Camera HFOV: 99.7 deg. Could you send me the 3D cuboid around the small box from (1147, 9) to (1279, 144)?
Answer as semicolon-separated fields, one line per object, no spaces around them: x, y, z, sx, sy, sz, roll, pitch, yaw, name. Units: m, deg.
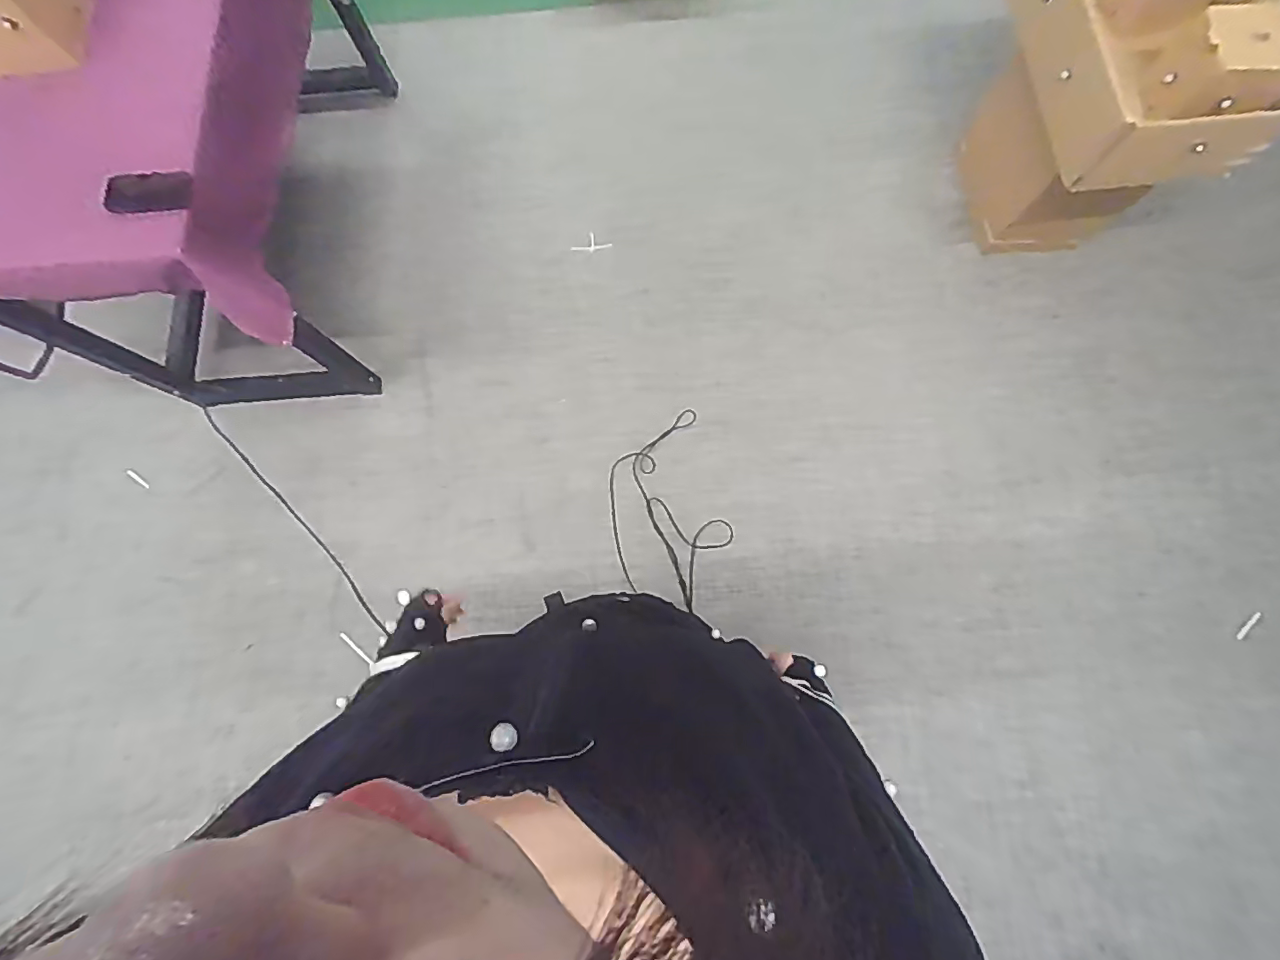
1.236;-0.851;1.153;0.179;0.176;0.168;2;78;4;small box
